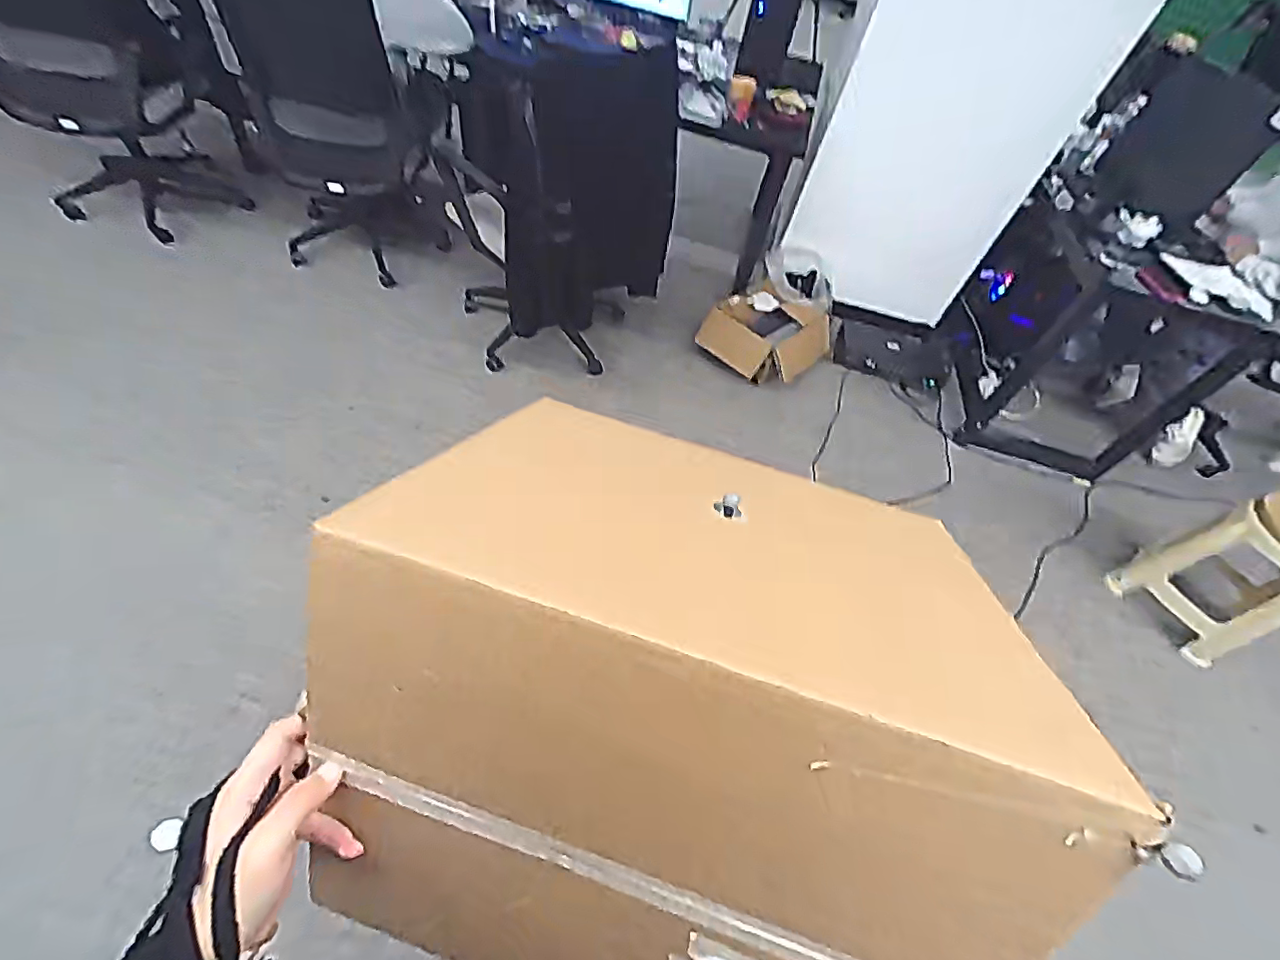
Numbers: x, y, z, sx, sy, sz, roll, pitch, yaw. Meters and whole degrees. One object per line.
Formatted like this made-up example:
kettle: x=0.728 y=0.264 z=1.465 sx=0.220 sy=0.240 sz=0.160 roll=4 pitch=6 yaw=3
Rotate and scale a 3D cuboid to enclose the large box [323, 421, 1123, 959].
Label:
large box: x=0.022 y=0.172 z=0.454 sx=0.408 sy=0.320 sz=0.320 roll=17 pitch=23 yaw=6
